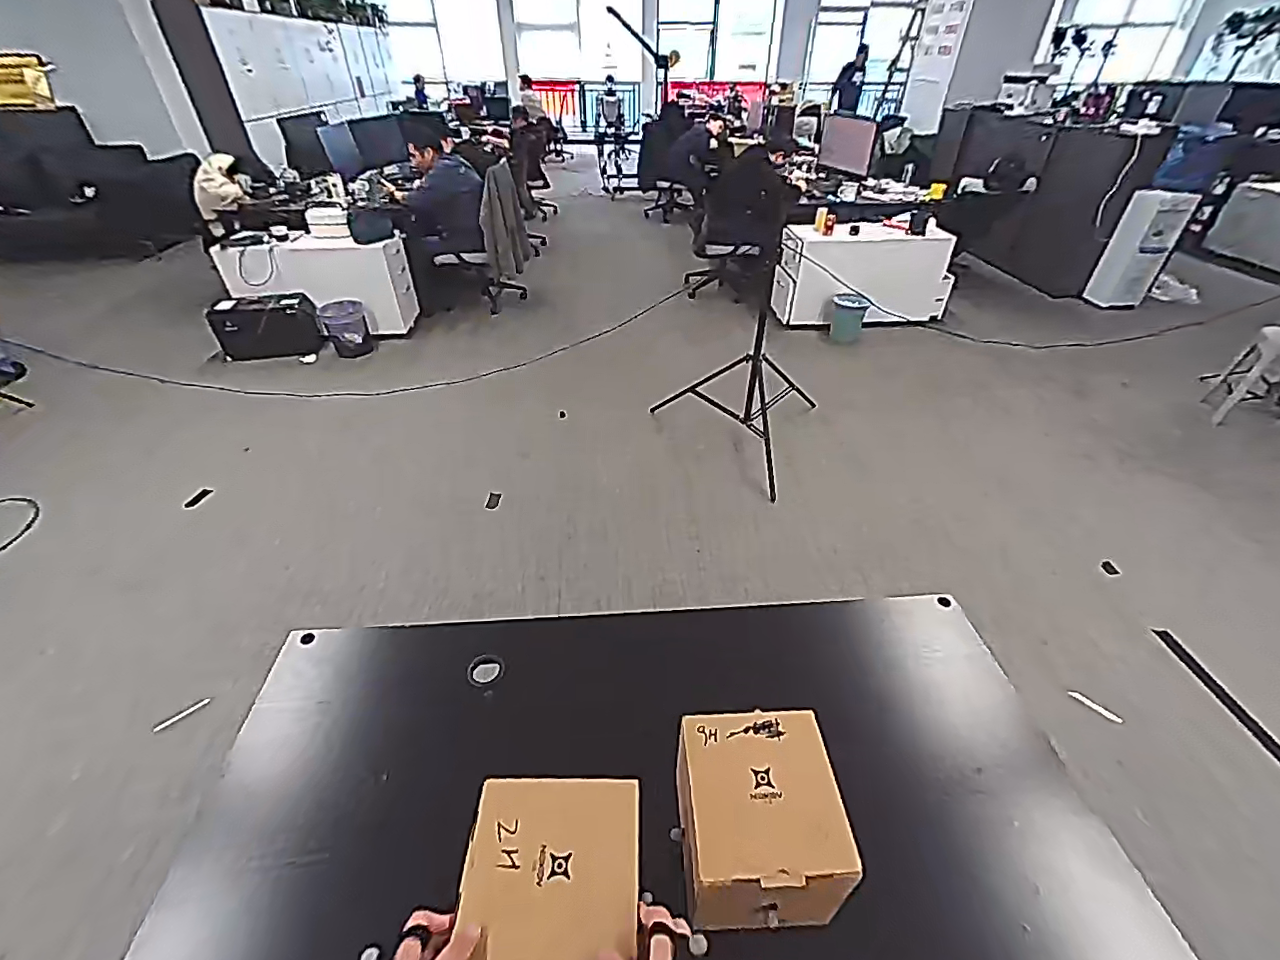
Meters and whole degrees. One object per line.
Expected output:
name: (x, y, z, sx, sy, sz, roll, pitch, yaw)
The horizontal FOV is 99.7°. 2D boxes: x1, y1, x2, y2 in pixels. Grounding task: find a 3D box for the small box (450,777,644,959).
small box: (-0.086, 0.448, 0.593, 0.179, 0.176, 0.168, -1, 38, -1)
